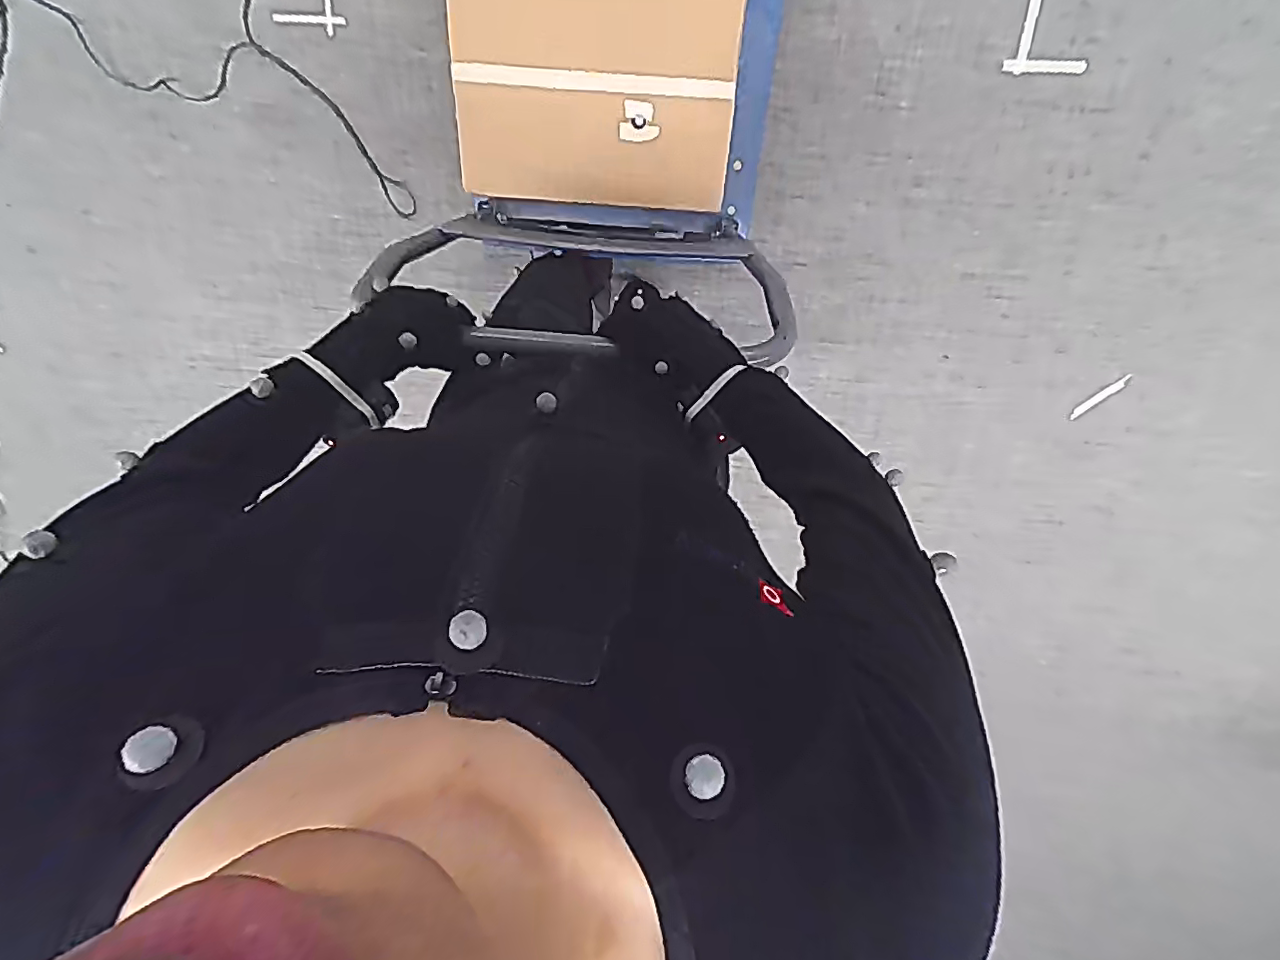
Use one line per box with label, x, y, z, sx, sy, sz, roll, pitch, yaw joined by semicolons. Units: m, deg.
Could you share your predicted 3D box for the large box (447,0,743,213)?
large box;-0.066;-0.630;0.900;0.408;0.320;0.320;3;119;-1
